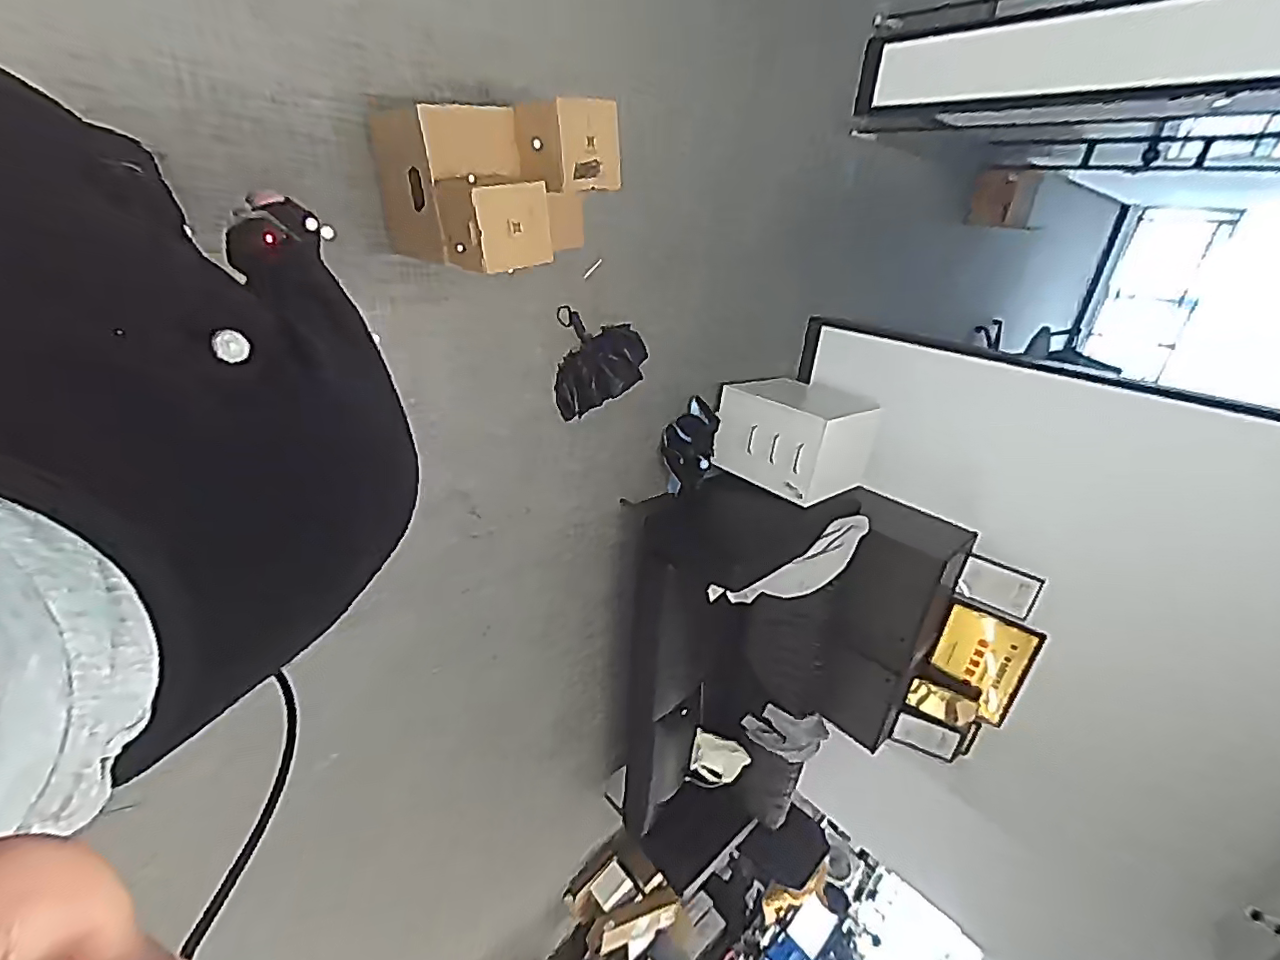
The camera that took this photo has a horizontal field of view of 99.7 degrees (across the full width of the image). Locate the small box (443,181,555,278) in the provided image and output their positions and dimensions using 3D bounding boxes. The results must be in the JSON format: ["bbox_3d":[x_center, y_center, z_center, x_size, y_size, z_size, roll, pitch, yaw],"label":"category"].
[{"bbox_3d":[-0.315,-0.557,1.192,0.179,0.176,0.168,-30,134,-34],"label":"small box"}]

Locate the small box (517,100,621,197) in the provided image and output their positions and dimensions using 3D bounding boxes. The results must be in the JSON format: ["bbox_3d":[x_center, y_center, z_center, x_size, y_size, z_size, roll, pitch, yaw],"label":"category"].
[{"bbox_3d":[-0.162,-0.751,1.242,0.168,0.176,0.179,-25,125,-36],"label":"small box"}]
